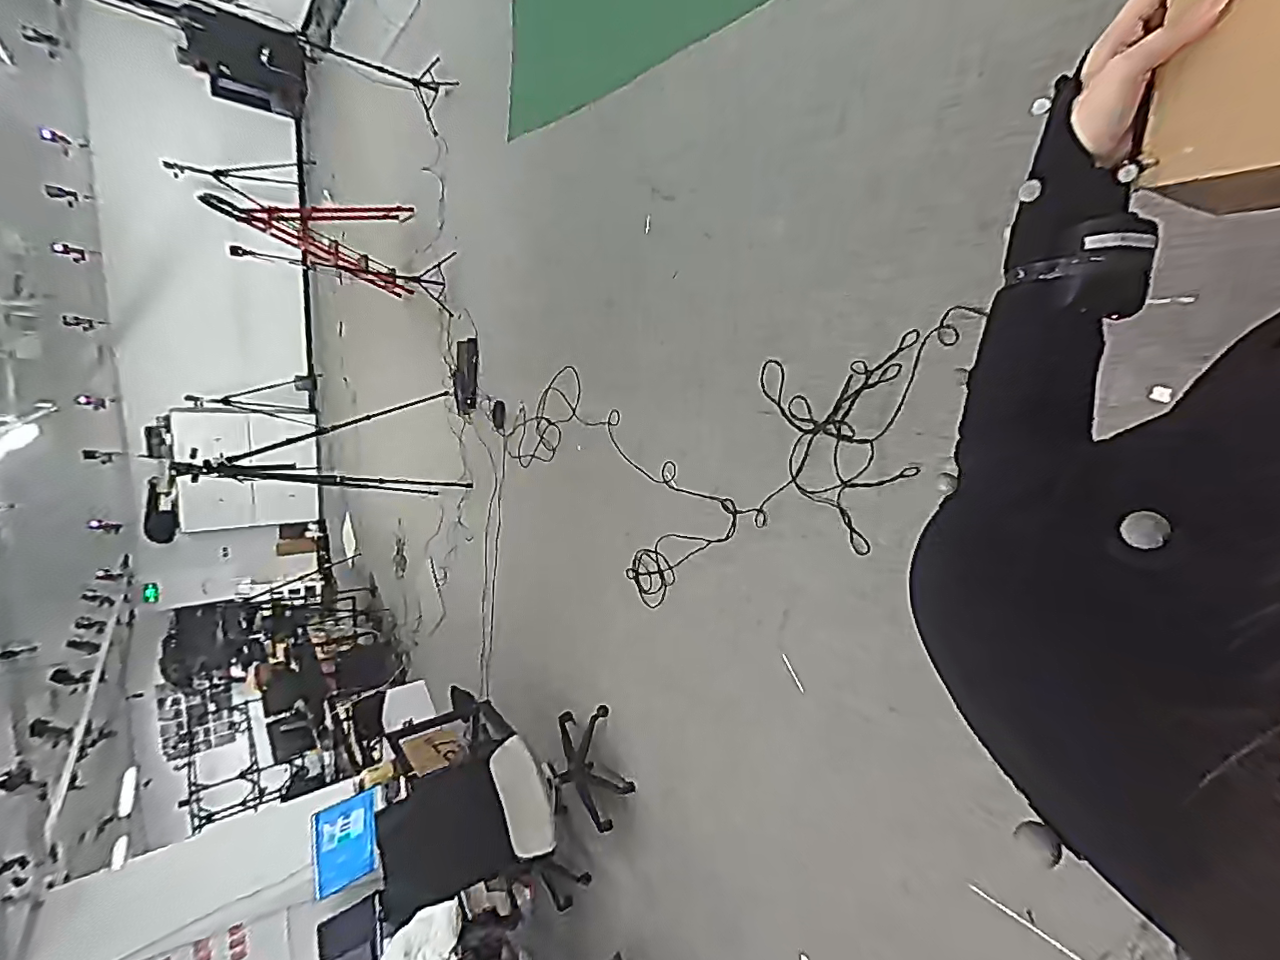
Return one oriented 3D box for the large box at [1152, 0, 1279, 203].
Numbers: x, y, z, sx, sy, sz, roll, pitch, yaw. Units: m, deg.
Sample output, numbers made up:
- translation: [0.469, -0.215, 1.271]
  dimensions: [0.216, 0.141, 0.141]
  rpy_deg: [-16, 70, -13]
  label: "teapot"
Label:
- translation: [0.607, -0.366, 0.289]
  dimensions: [0.408, 0.320, 0.320]
  rpy_deg: [17, 115, 52]
  label: "large box"
